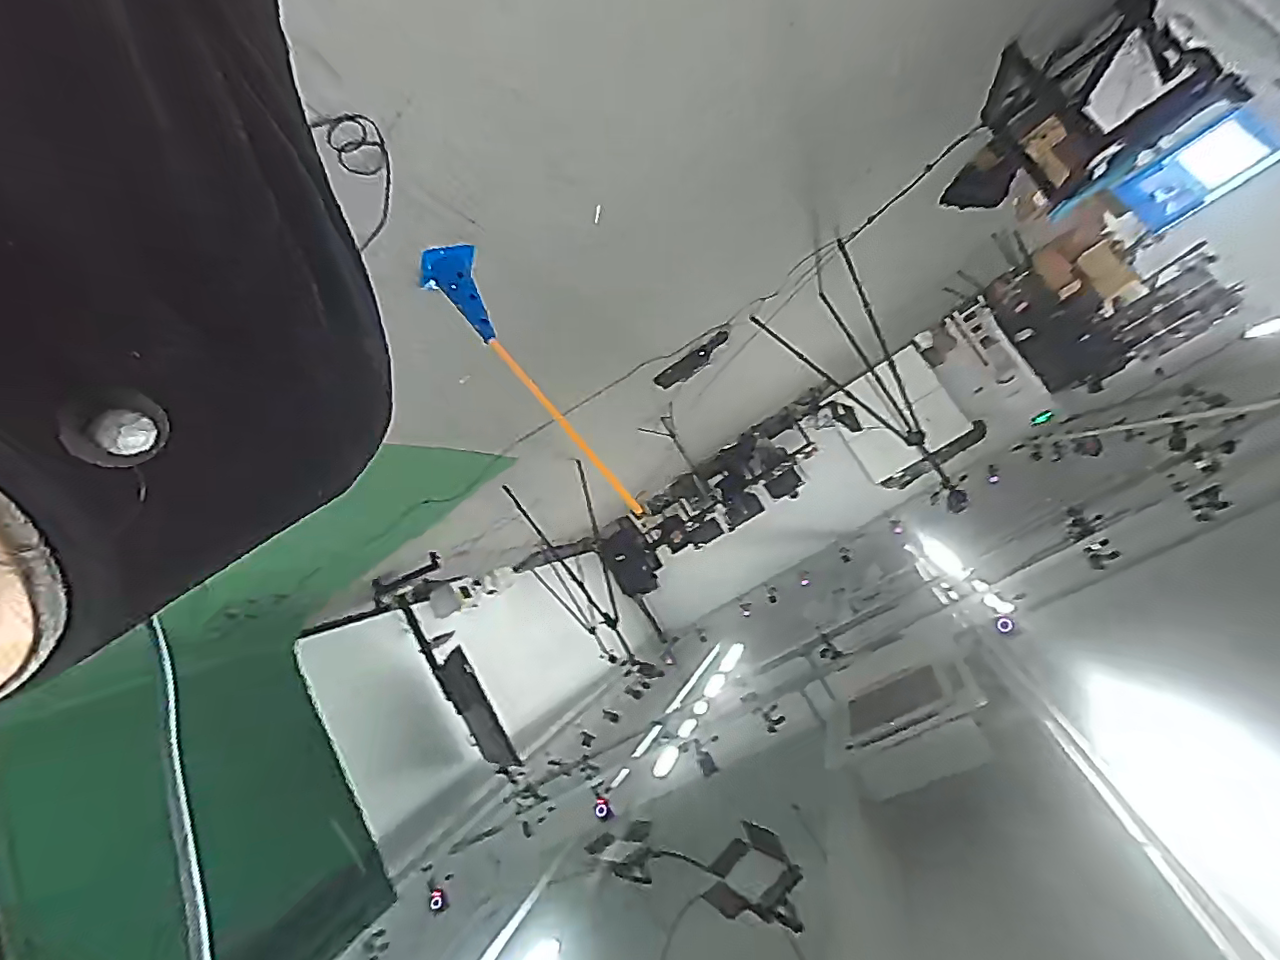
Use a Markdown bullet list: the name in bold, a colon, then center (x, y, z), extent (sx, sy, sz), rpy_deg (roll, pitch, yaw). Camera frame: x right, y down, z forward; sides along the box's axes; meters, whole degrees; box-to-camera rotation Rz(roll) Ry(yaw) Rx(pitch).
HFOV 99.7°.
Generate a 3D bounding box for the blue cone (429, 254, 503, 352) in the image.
- **blue cone**: center (-0.618, -0.639, 2.013), extent (0.193, 0.380, 0.192), rpy_deg (-27, 168, -31)
